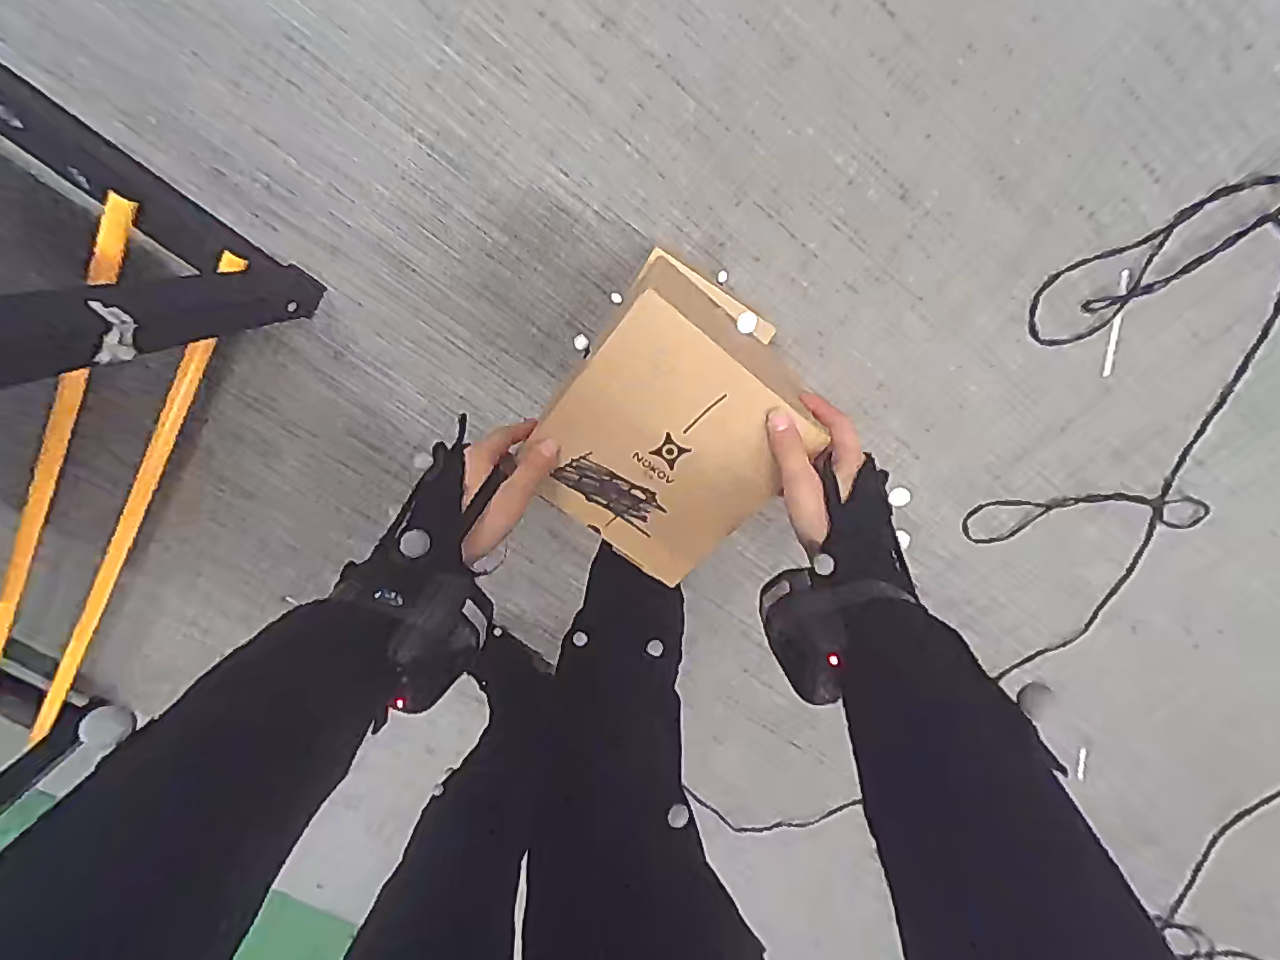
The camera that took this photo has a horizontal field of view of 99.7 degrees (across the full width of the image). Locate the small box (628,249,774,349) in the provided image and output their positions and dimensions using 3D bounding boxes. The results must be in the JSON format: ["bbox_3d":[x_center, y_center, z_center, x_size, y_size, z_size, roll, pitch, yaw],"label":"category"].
[{"bbox_3d":[0.046,-0.180,0.707,0.168,0.176,0.179,31,112,-9],"label":"small box"}]

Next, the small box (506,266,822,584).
[{"bbox_3d":[0.019,-0.054,0.460,0.168,0.176,0.179,36,114,-15],"label":"small box"}]
